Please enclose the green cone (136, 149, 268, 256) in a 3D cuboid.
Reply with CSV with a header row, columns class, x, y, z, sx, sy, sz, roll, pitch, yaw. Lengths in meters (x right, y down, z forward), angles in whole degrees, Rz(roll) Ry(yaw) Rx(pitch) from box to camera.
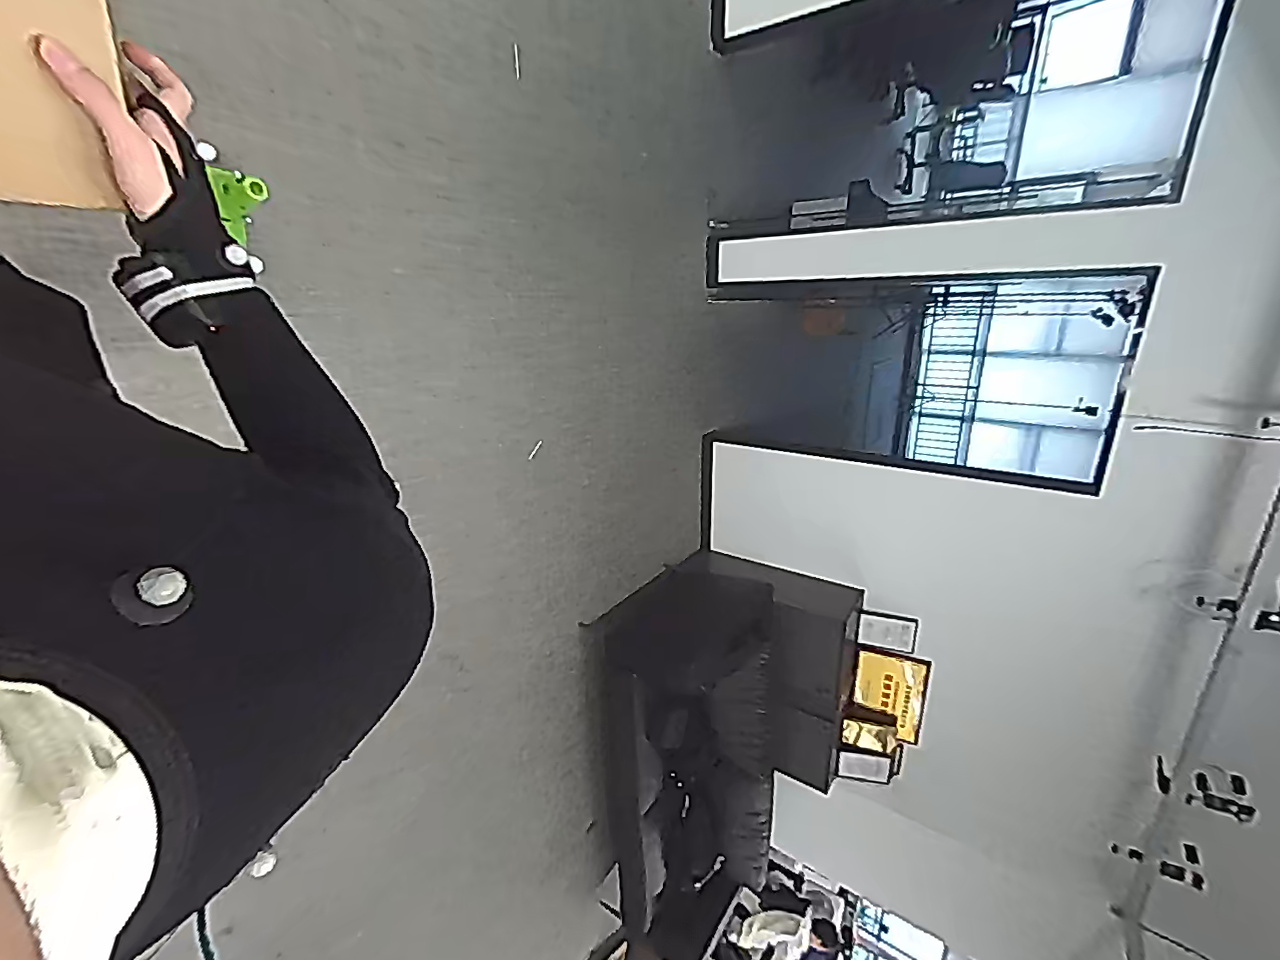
class,x,y,z,sx,sy,sz,roll,pitch,yaw
green cone,-0.903,-0.617,1.174,0.200,0.368,0.202,-16,112,-54
